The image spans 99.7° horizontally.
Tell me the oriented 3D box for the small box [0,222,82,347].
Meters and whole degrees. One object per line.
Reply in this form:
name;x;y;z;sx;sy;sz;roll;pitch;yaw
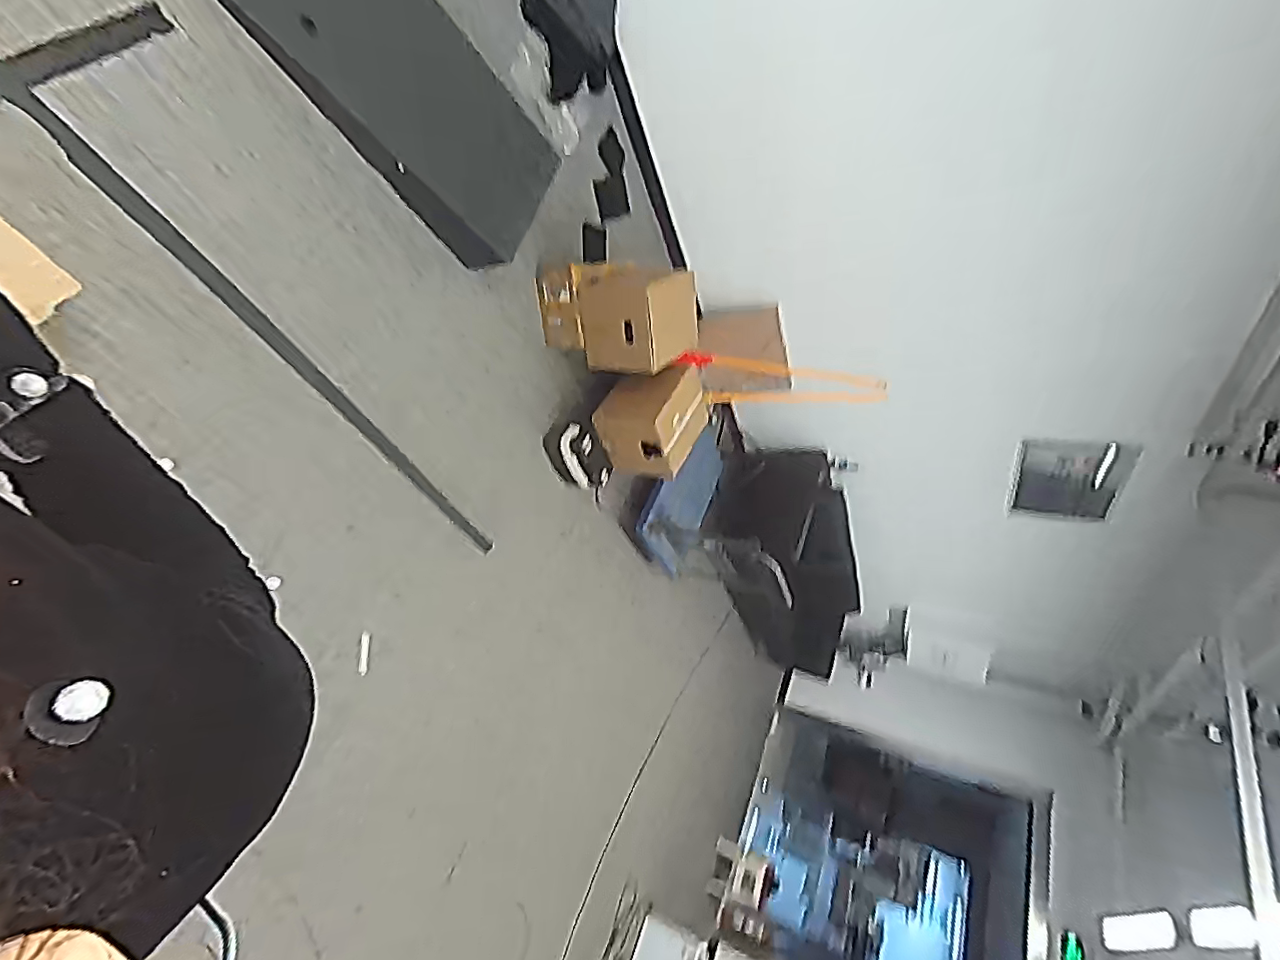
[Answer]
small box;-1.112;-0.334;0.895;0.168;0.176;0.179;-61;145;-31
